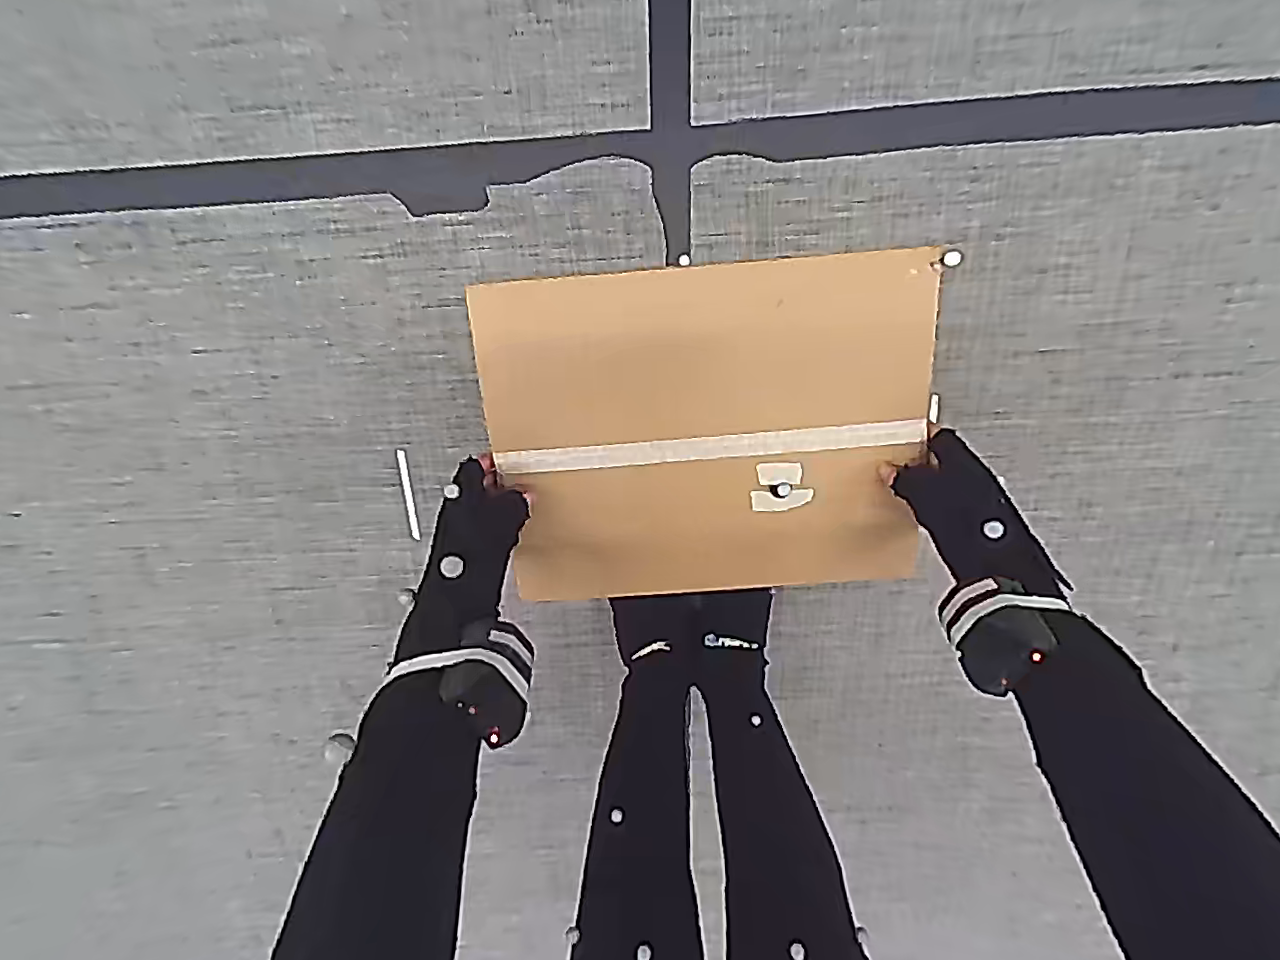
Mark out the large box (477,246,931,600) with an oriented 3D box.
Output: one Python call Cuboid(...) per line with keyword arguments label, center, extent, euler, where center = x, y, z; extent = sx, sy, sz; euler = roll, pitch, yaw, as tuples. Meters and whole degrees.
Cuboid(label="large box", center=(0.065, -0.083, 0.654), extent=(0.408, 0.320, 0.320), euler=(-5, 109, 1))
